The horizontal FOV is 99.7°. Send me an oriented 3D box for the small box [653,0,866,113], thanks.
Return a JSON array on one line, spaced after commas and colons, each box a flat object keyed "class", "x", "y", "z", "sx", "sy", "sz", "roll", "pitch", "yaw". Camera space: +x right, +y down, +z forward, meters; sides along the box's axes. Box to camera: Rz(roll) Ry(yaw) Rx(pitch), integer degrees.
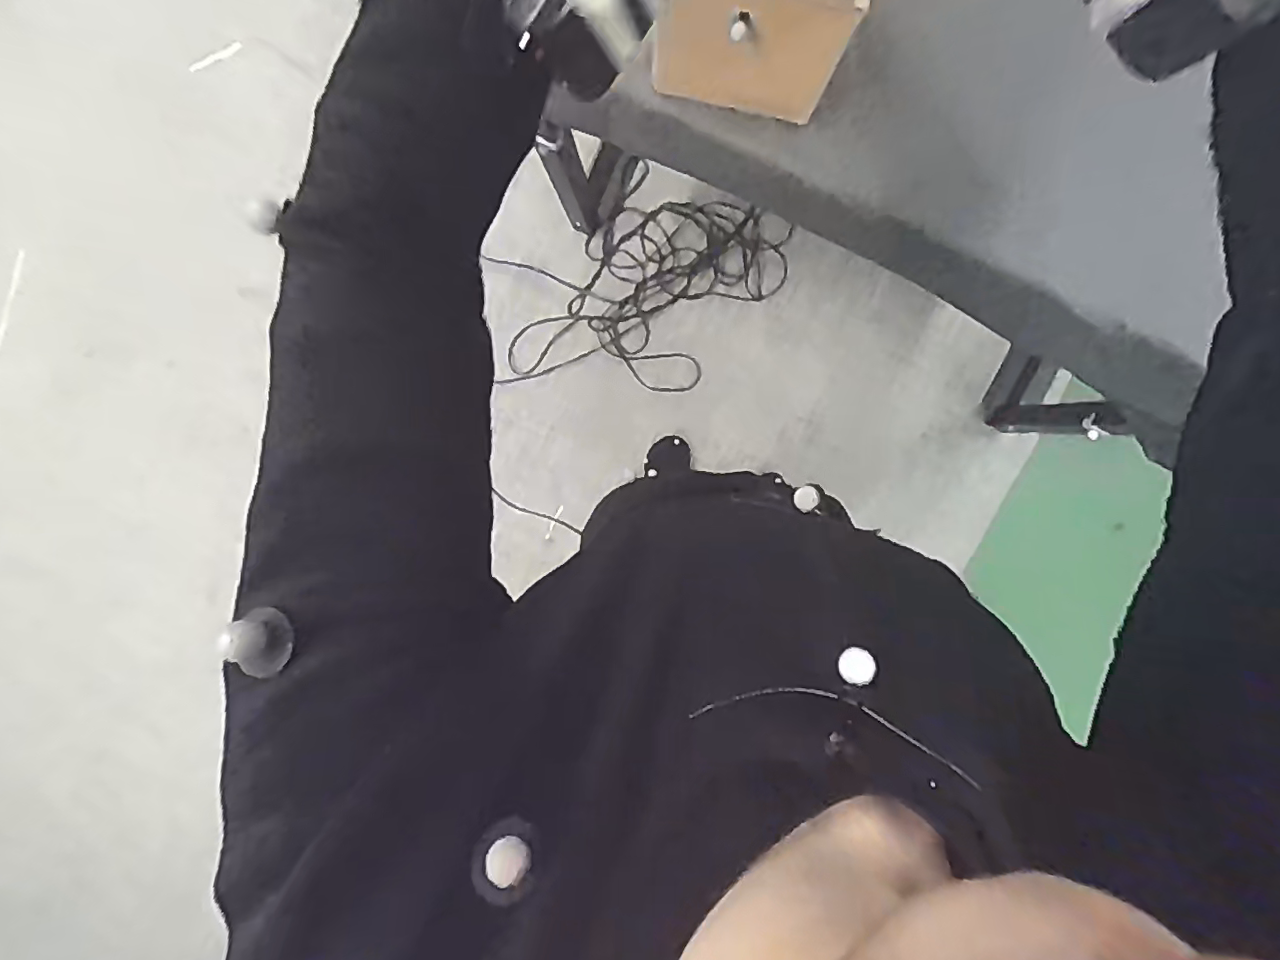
[{"class": "small box", "x": 0.115, "y": -0.480, "z": 0.499, "sx": 0.179, "sy": 0.176, "sz": 0.168, "roll": 14, "pitch": 96, "yaw": 1}]
